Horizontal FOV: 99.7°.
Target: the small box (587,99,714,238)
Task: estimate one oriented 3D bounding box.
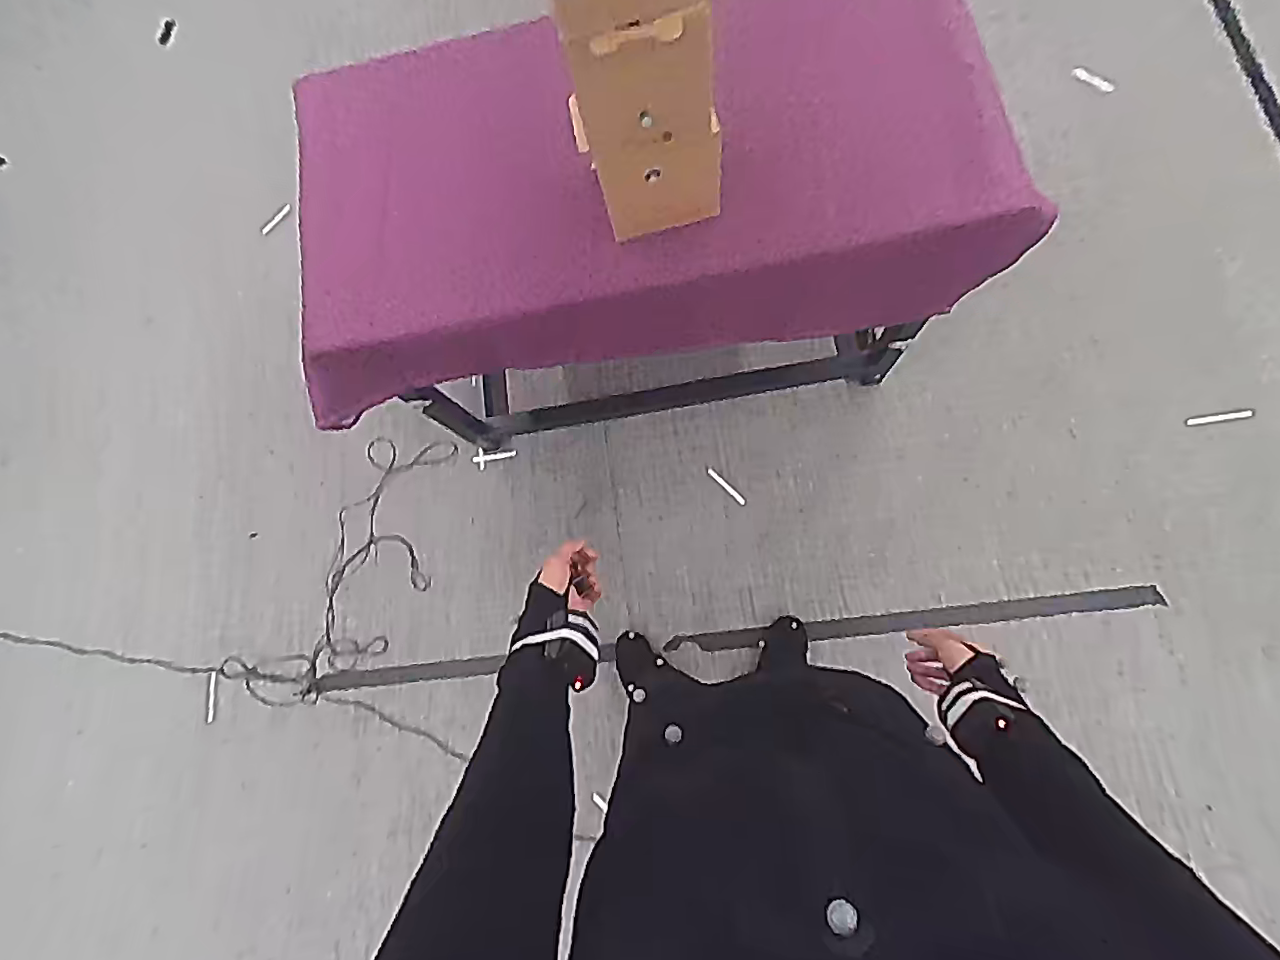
[{"bbox_3d":[0.013,-0.505,0.831,0.179,0.176,0.168,-13,76,4],"label":"small box"}]

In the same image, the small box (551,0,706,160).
[{"bbox_3d":[-0.010,-0.545,0.673,0.168,0.176,0.179,-8,76,7],"label":"small box"}]
